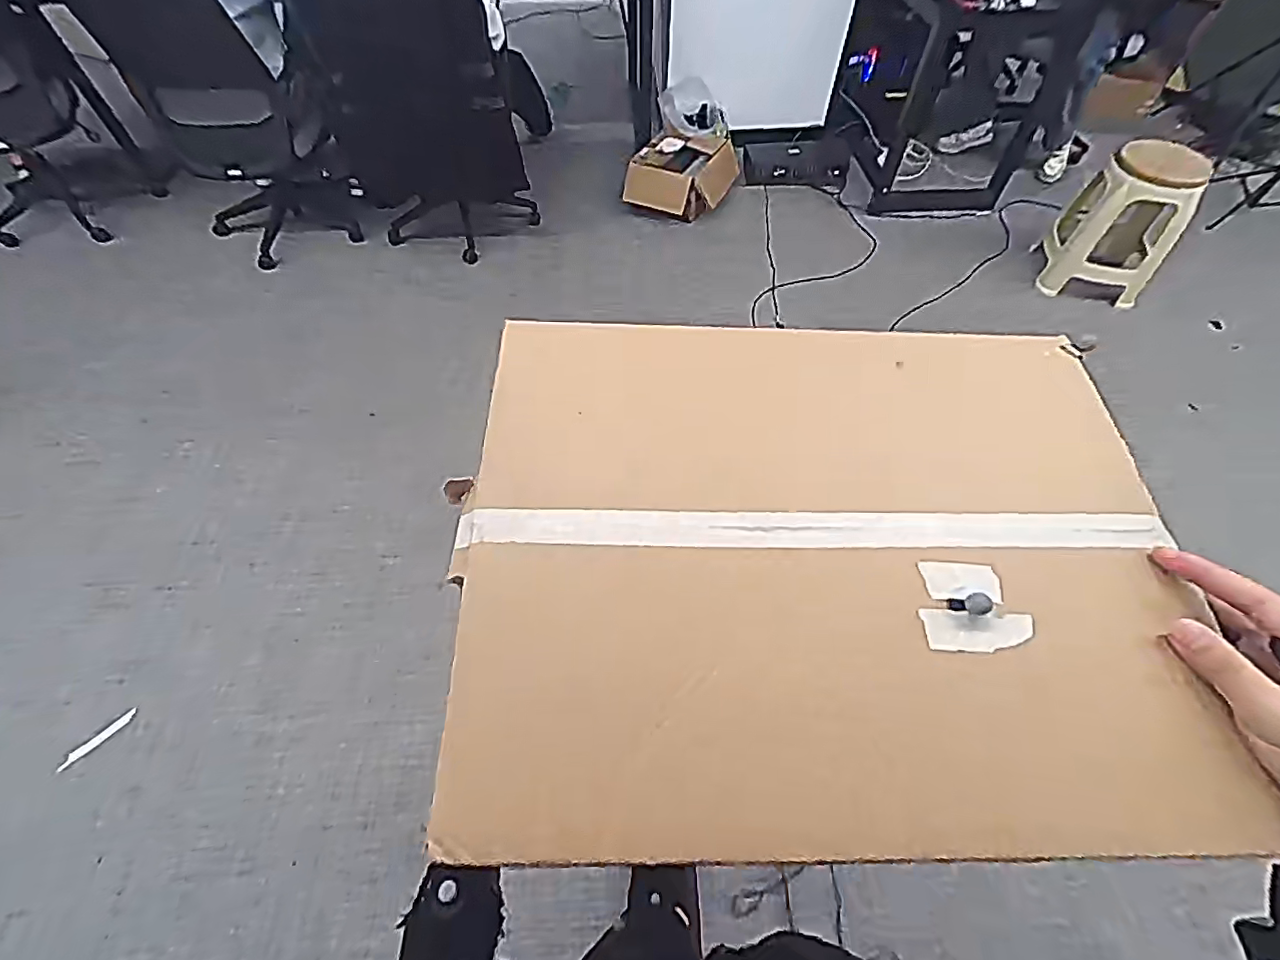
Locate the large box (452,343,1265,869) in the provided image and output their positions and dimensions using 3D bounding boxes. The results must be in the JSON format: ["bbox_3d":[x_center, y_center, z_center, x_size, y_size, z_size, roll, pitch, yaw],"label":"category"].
[{"bbox_3d":[0.098,0.109,0.453,0.408,0.320,0.320,1,62,-3],"label":"large box"}]
